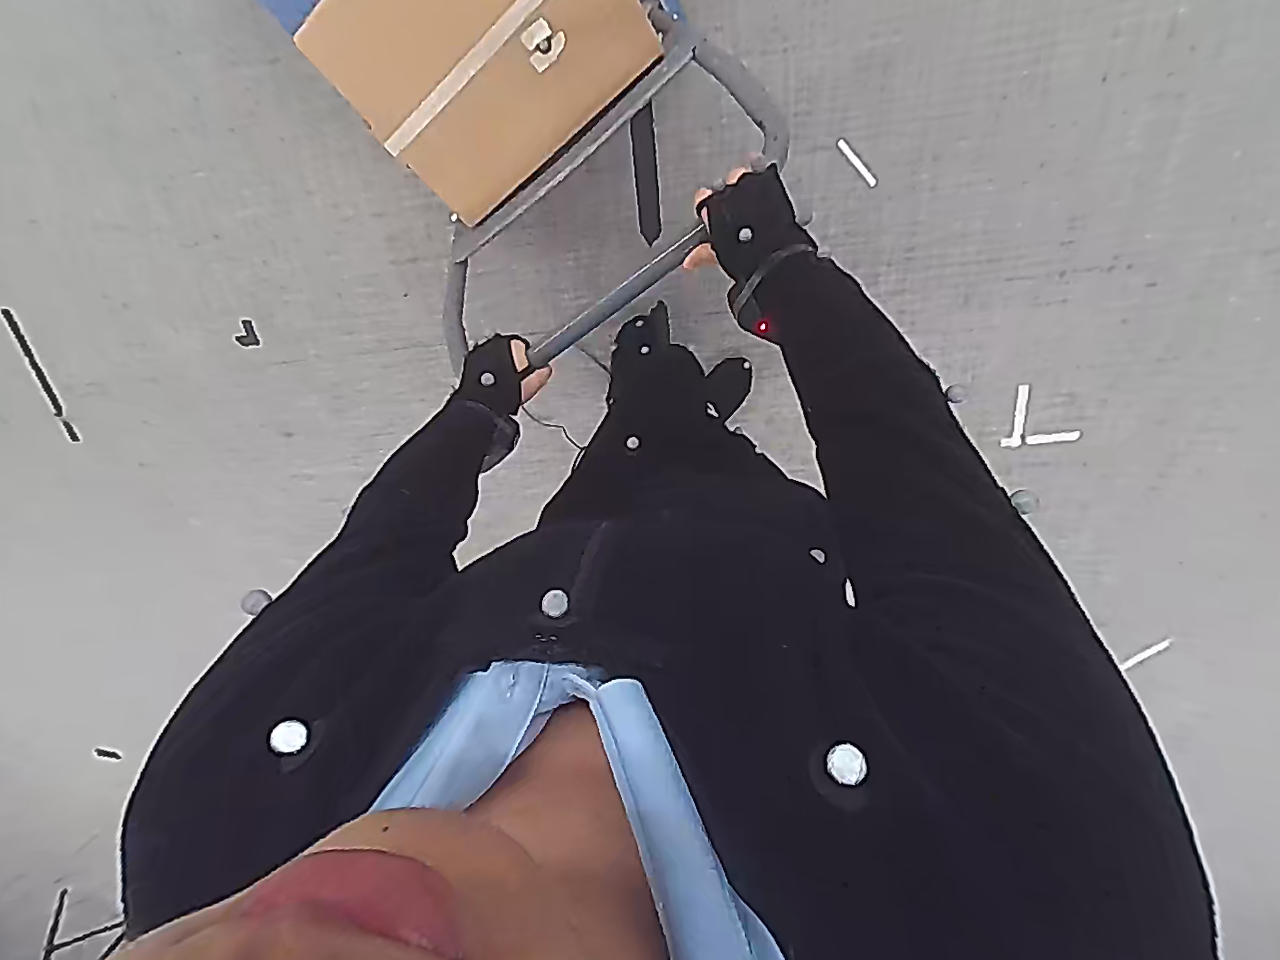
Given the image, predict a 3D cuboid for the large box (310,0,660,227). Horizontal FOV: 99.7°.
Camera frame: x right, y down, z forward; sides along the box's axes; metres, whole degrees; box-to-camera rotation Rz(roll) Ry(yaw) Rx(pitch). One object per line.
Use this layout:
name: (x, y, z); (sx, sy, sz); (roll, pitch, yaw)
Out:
large box: (-0.234, -0.710, 0.875); (0.408, 0.320, 0.320); (-33, 131, 19)
